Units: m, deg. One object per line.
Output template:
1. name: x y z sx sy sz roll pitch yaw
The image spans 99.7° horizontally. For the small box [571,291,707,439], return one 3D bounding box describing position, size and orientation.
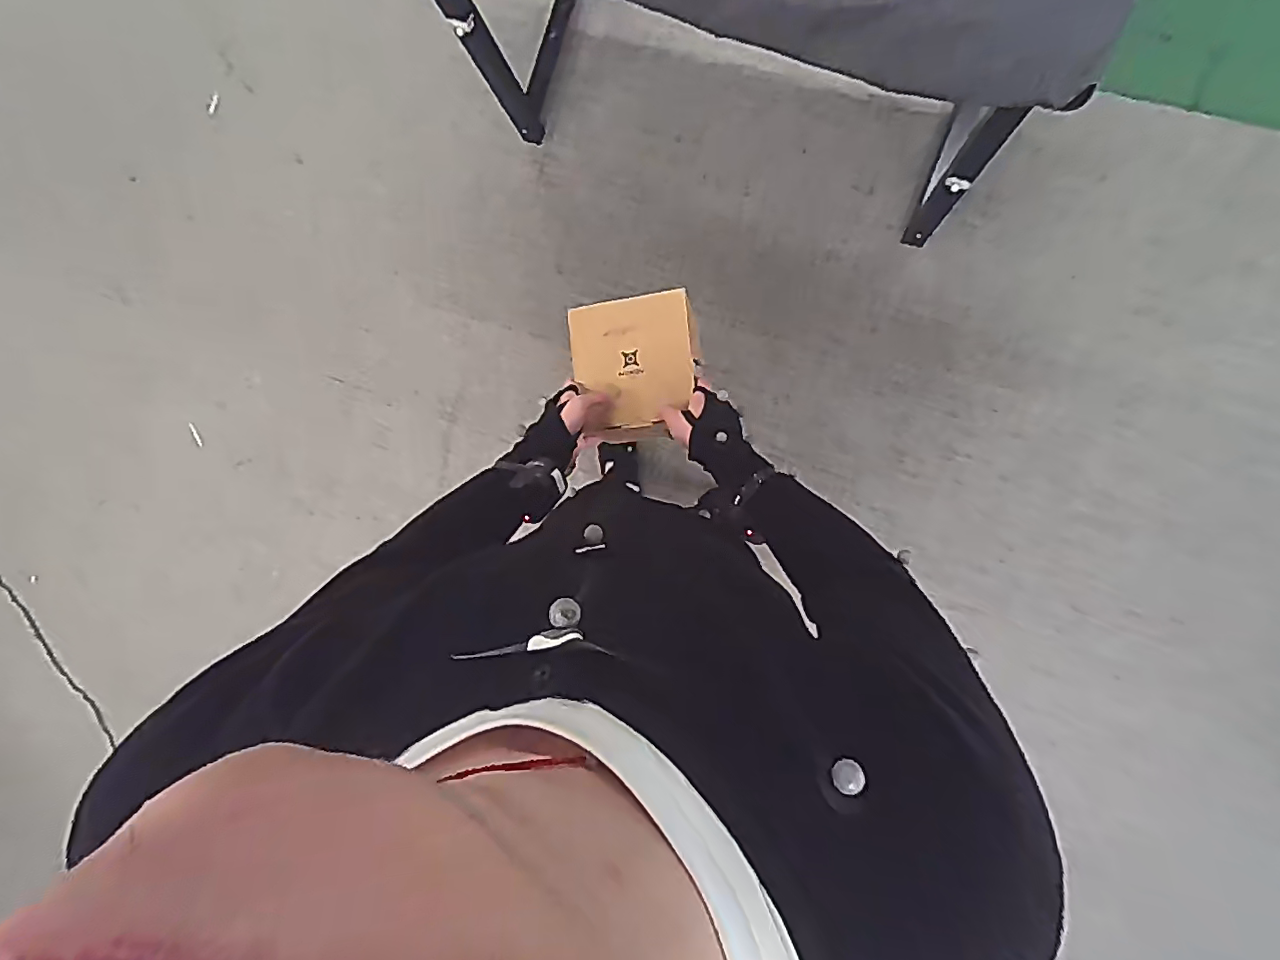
1. small box: 0.007 -0.157 0.808 0.168 0.176 0.179 -7 88 10
